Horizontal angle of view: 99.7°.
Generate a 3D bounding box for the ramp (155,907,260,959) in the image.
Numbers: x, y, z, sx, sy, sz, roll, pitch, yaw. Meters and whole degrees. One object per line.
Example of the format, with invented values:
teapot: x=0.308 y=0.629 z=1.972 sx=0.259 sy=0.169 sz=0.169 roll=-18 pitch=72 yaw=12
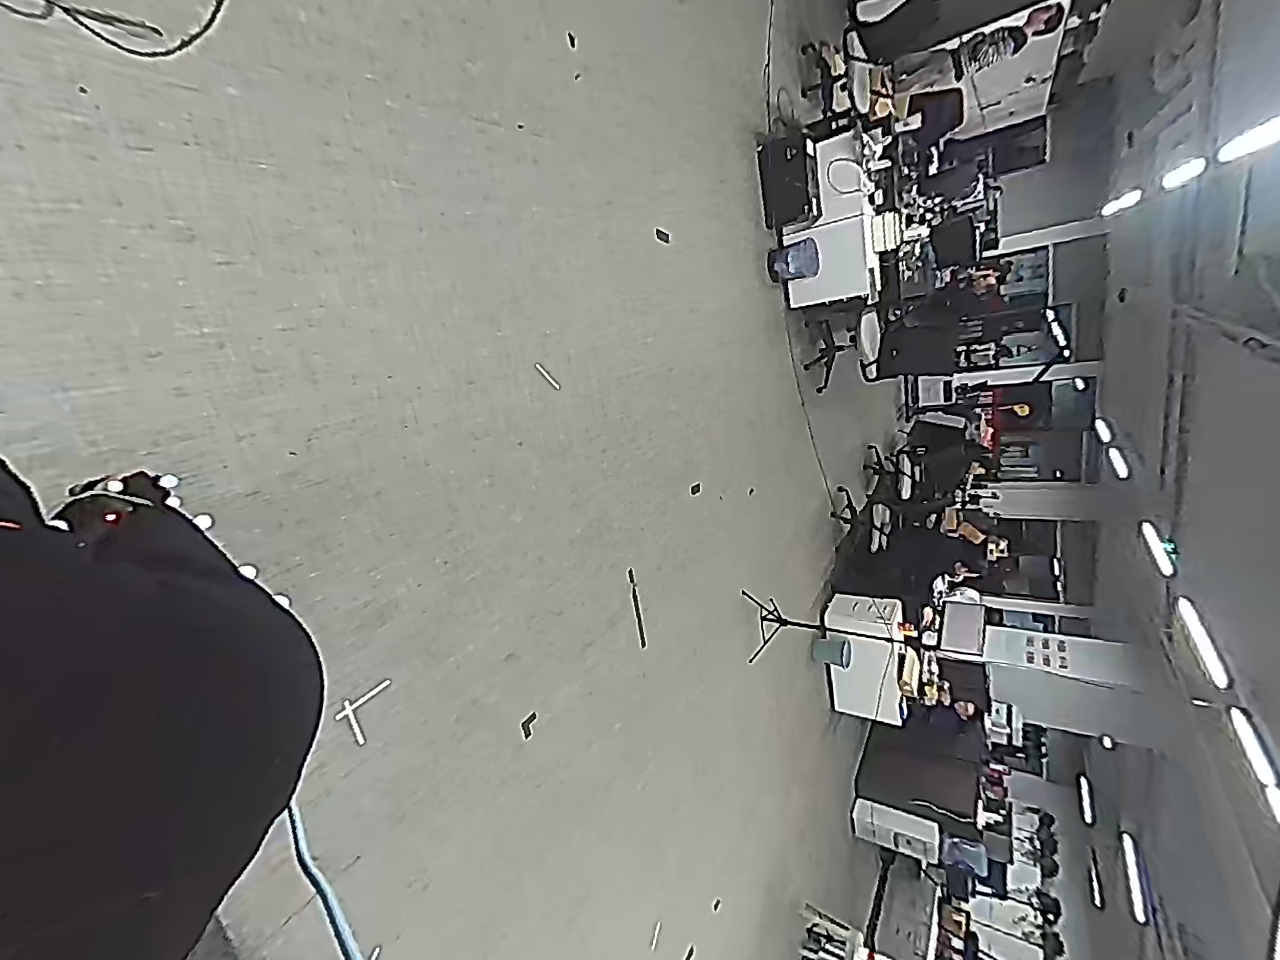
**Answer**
ramp: x=-0.857 y=1.457 z=1.057 sx=0.509 sy=0.206 sz=0.991 roll=-32 pitch=114 yaw=-49
